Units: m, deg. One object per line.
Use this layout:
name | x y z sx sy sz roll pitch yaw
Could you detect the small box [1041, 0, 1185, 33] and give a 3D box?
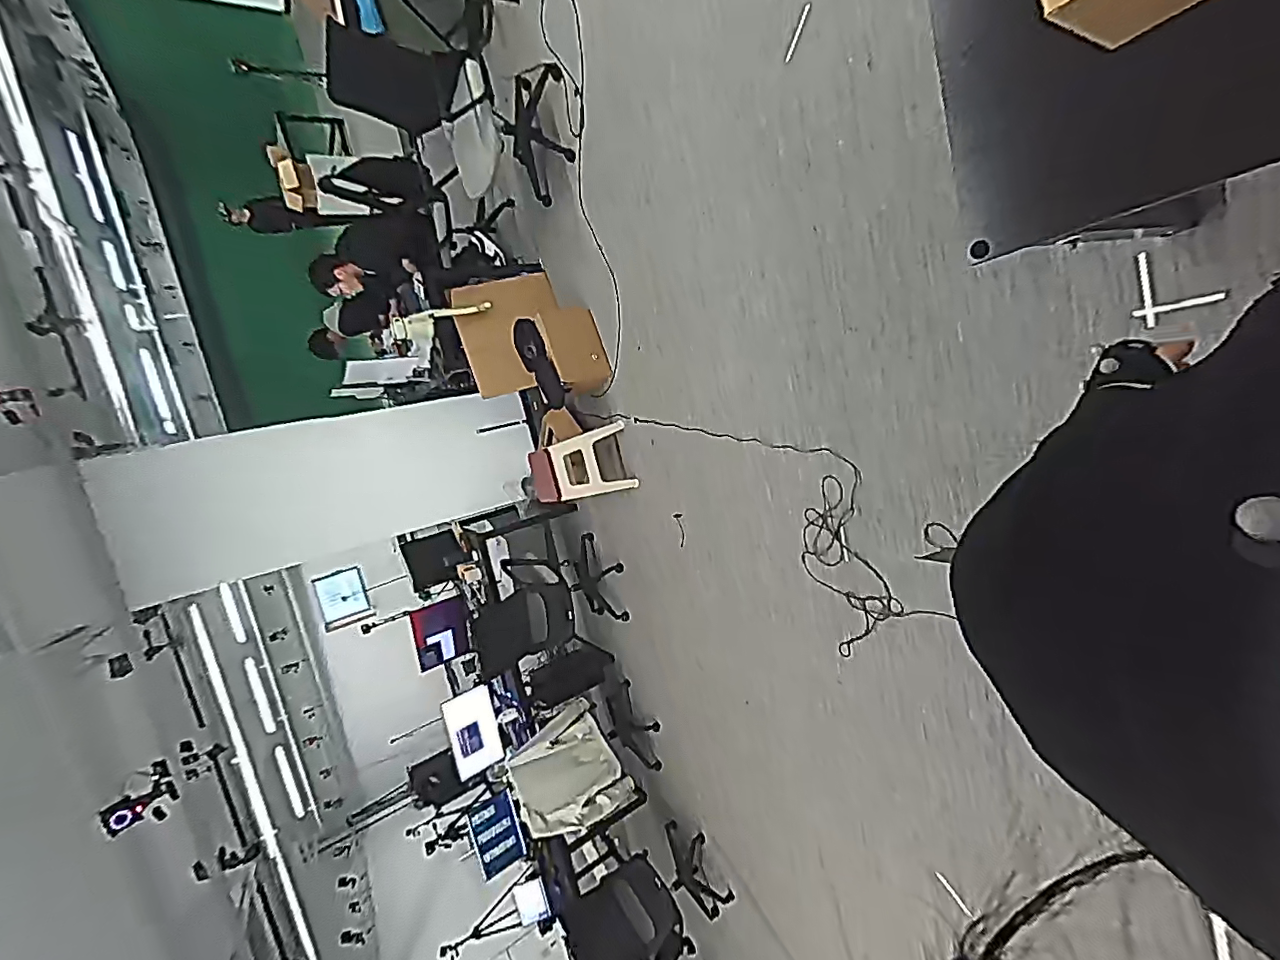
small box | 0.451 -0.513 0.437 0.179 0.176 0.168 -3 102 58
